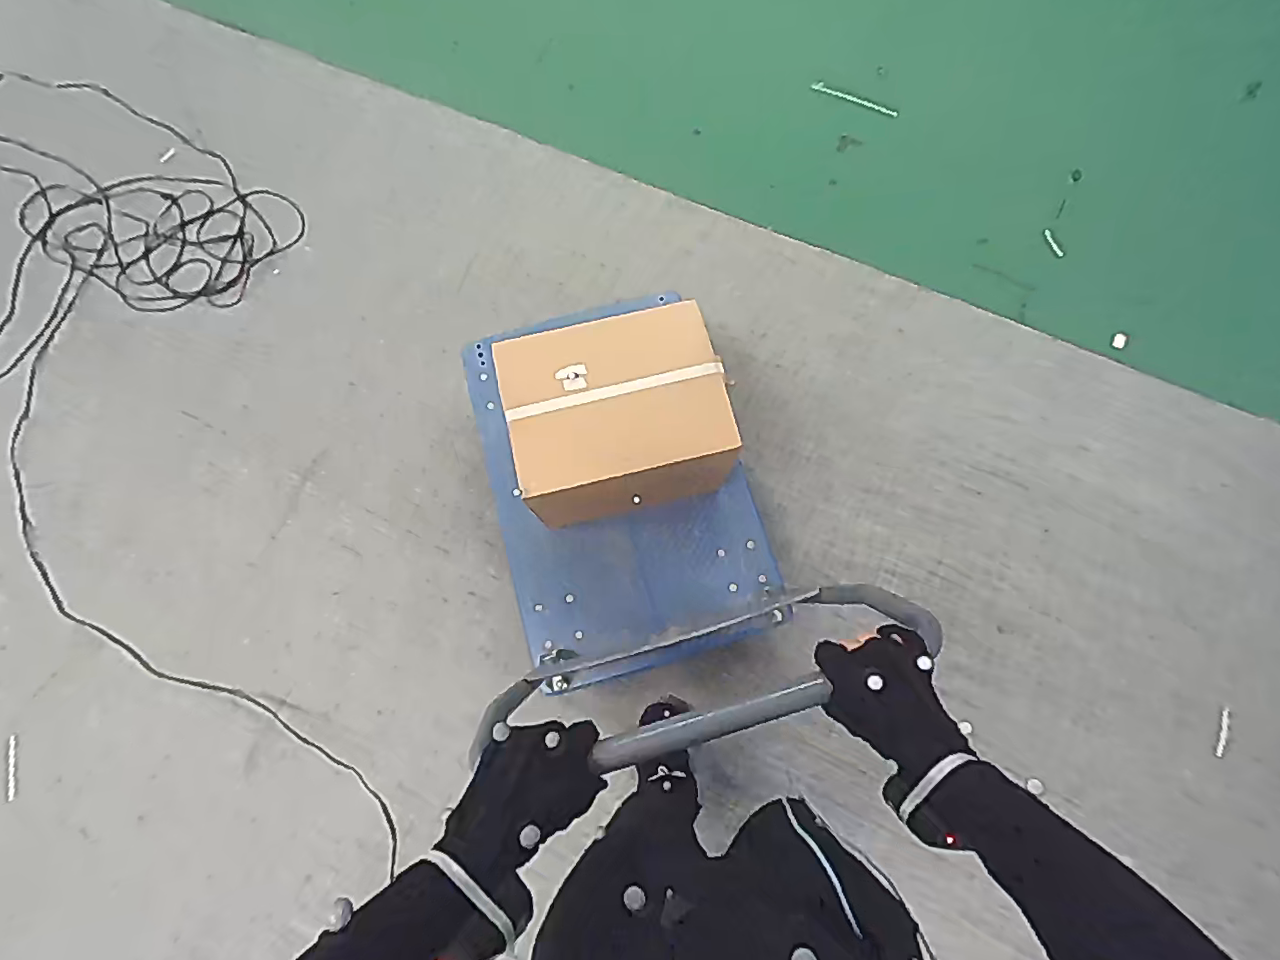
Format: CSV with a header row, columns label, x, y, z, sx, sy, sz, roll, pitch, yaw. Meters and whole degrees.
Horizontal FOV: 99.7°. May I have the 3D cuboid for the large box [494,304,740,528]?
label,x,y,z,sx,sy,sz,roll,pitch,yaw
large box,-0.045,-0.113,1.137,0.408,0.320,0.320,-14,75,-2
